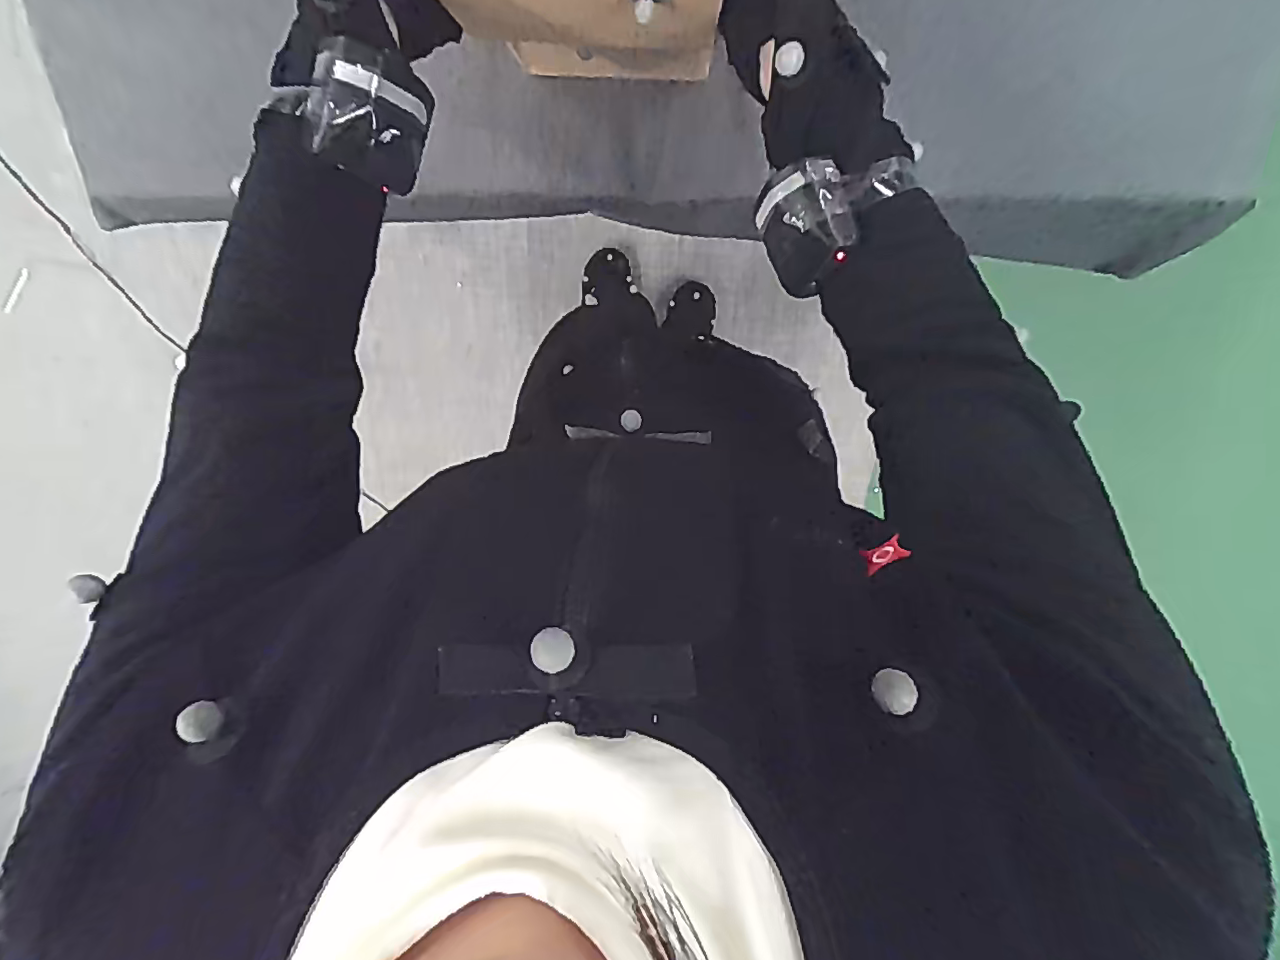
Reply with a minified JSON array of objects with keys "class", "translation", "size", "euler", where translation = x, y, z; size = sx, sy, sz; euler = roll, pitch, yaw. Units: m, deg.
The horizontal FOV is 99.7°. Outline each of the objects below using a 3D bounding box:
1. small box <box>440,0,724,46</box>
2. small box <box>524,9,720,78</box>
[{"class":"small box","translation":[-0.032,-0.347,0.271],"size":[0.179,0.176,0.168],"euler":[0,112,3]},{"class":"small box","translation":[-0.021,-0.441,0.426],"size":[0.179,0.176,0.168],"euler":[1,111,3]}]
